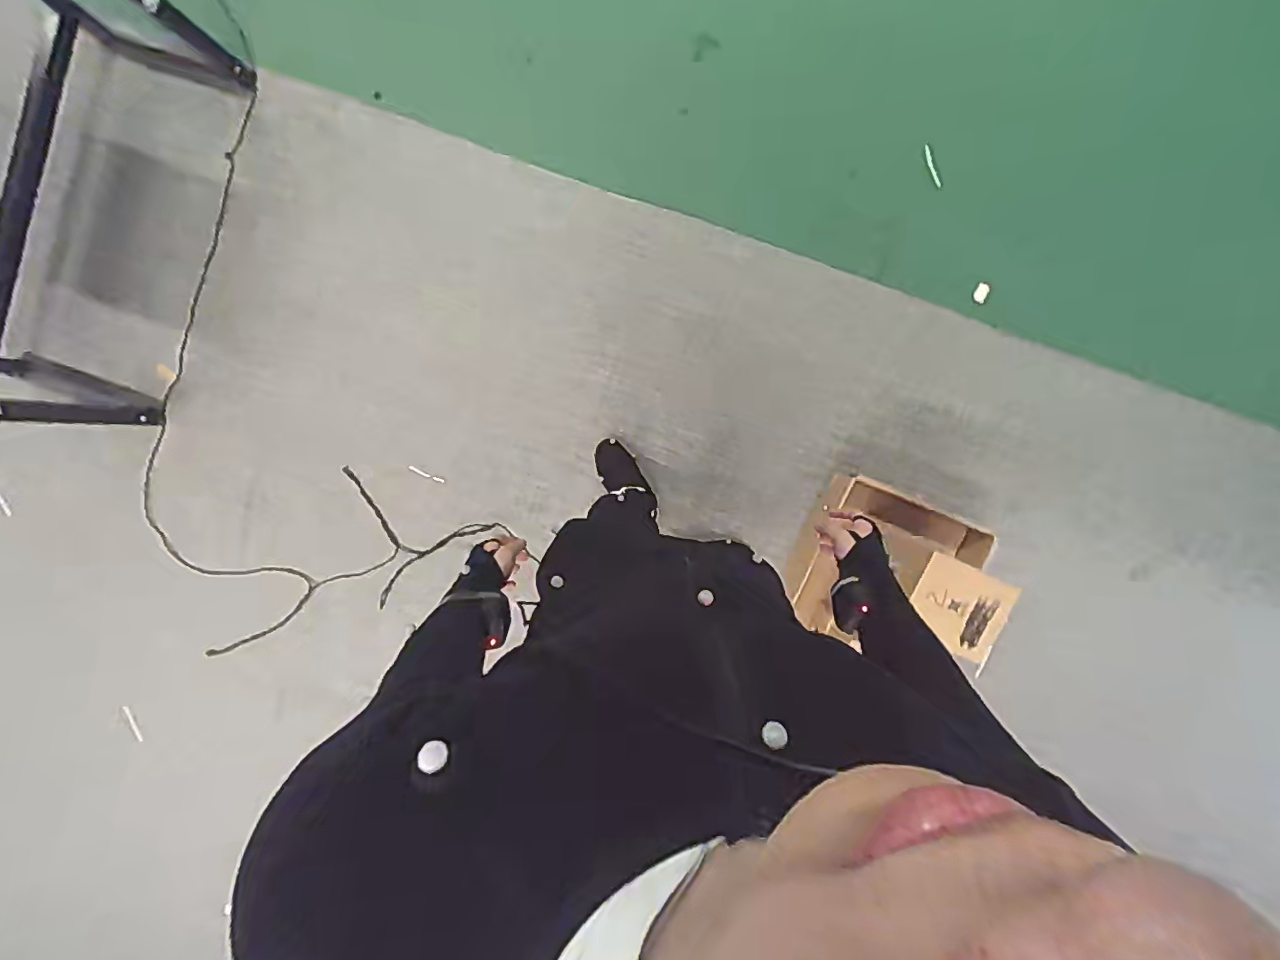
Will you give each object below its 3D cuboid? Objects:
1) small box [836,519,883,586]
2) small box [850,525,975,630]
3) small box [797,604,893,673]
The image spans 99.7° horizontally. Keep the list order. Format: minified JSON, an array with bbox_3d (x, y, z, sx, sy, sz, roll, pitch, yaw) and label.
[{"bbox_3d":[0.648,0.213,1.444,0.179,0.176,0.168,22,97,5],"label":"small box"},{"bbox_3d":[0.634,0.220,1.280,0.179,0.176,0.168,27,96,3],"label":"small box"},{"bbox_3d":[0.546,0.453,1.471,0.179,0.176,0.168,22,95,4],"label":"small box"}]
